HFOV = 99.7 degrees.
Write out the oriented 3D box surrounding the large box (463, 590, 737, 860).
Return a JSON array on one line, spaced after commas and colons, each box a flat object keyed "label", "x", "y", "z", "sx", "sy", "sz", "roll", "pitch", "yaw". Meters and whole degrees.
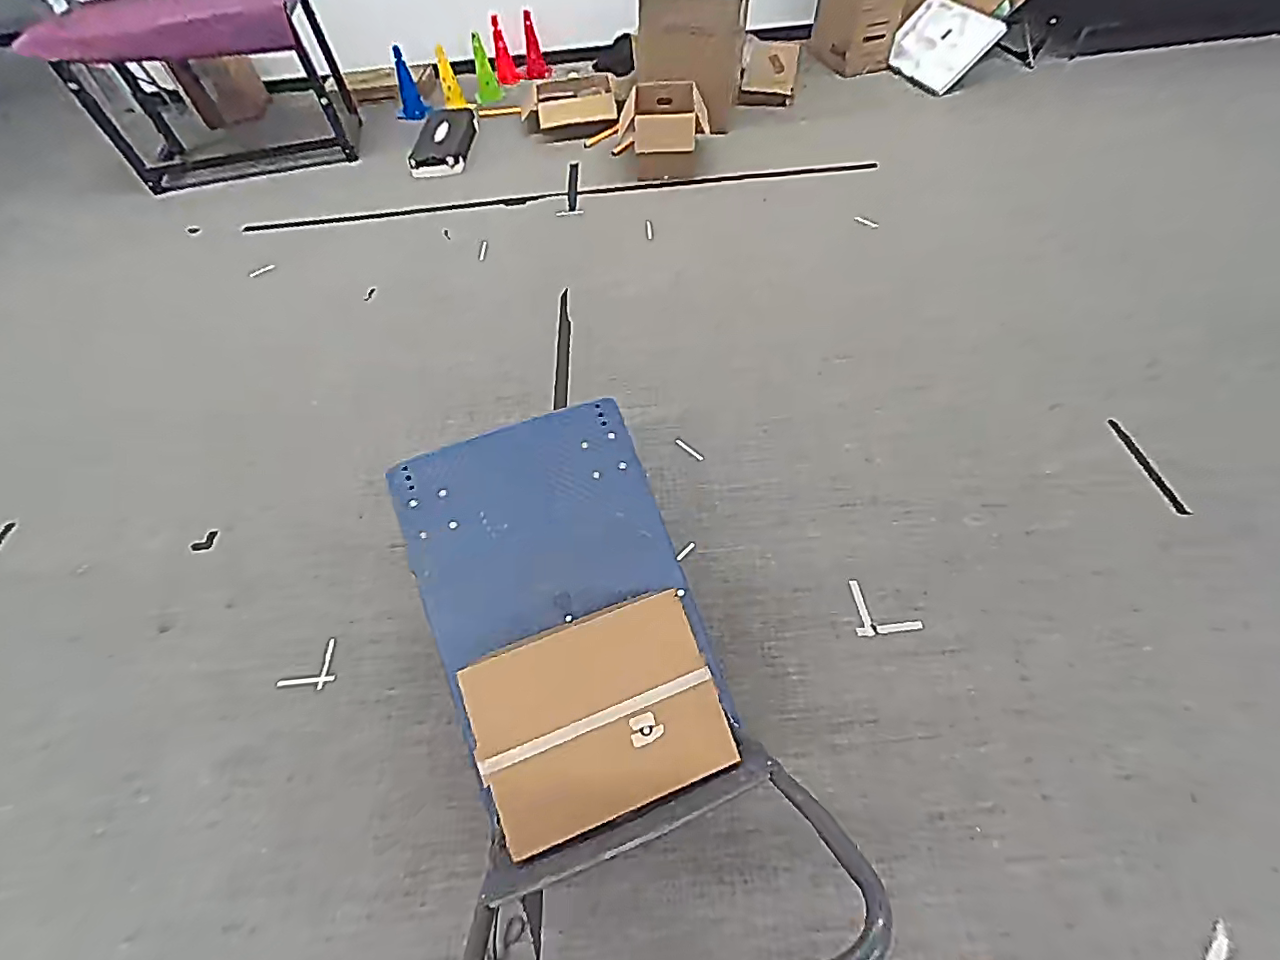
[{"label": "large box", "x": -0.083, "y": 0.440, "z": 1.071, "sx": 0.408, "sy": 0.320, "sz": 0.320, "roll": -20, "pitch": 81, "yaw": -11}]
